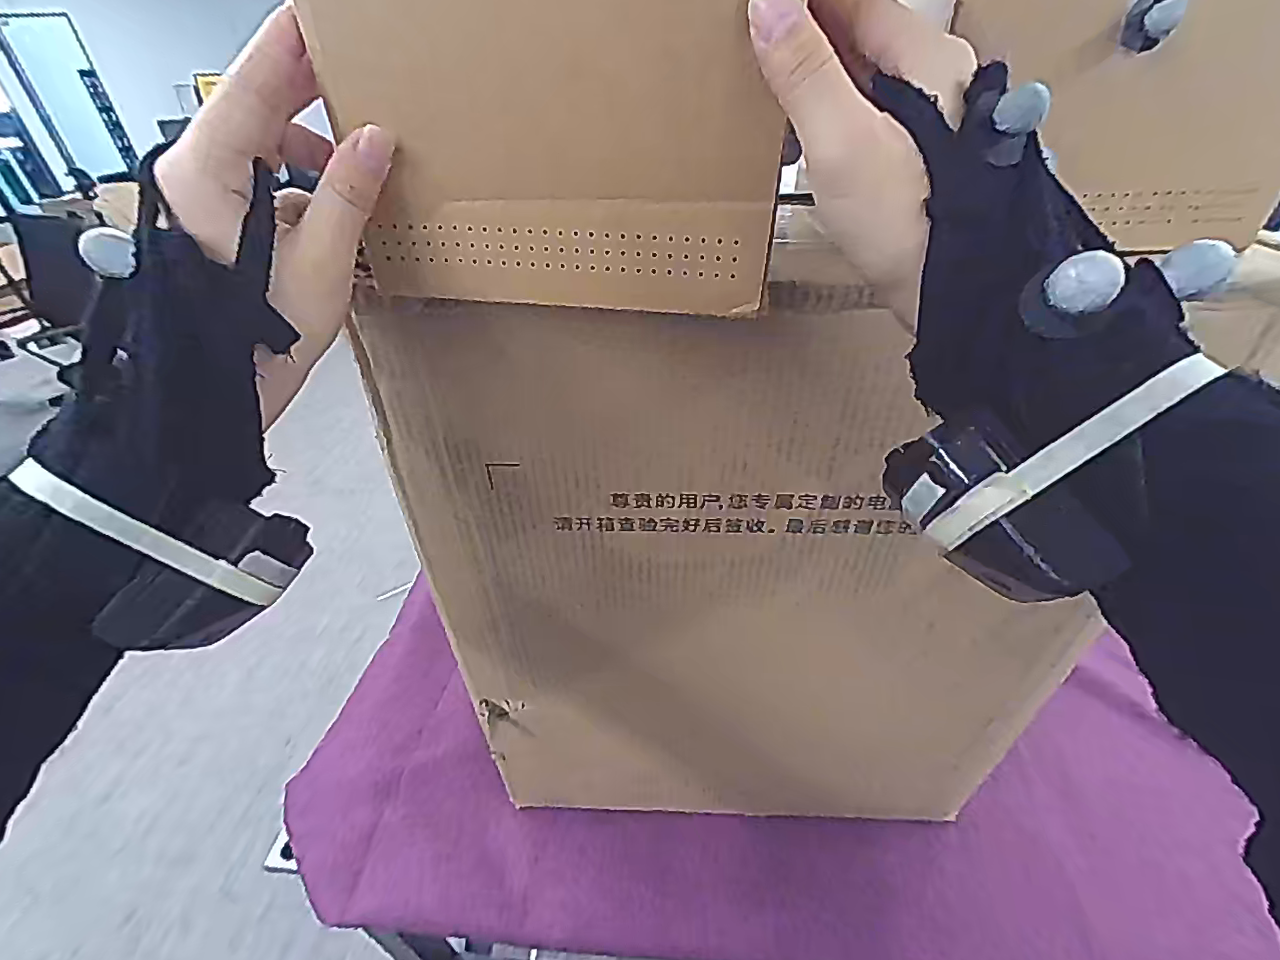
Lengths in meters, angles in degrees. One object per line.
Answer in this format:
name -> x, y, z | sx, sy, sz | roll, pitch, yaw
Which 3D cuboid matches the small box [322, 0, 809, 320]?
small box -> -0.021, -0.184, 0.249 | 0.179, 0.176, 0.168 | 5, 39, 6
